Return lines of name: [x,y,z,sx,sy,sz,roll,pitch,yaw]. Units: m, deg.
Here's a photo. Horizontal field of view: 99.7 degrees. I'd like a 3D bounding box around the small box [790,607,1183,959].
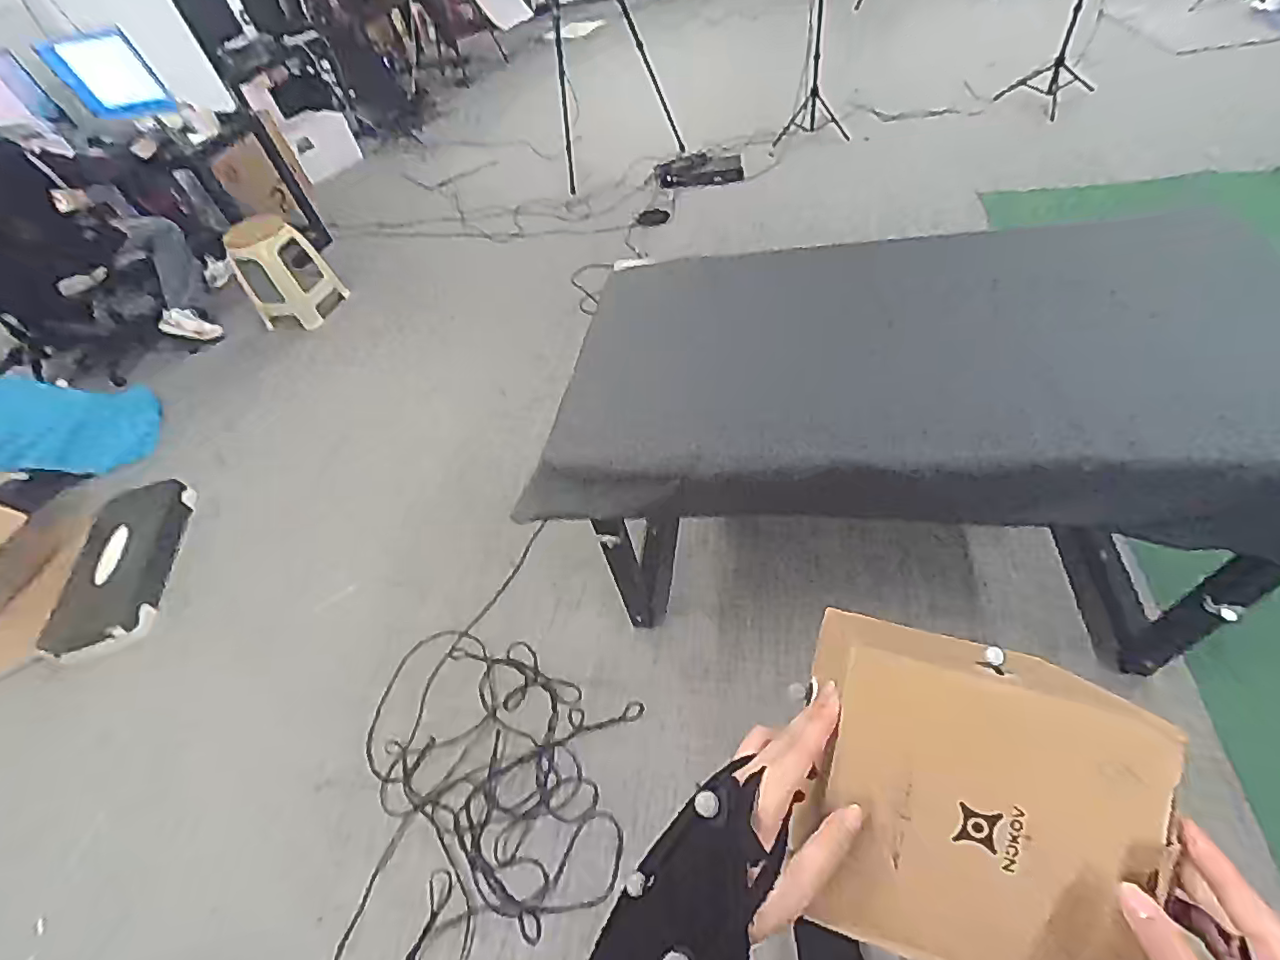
small box: [0.212,0.196,0.385,0.179,0.176,0.168,11,86,14]
